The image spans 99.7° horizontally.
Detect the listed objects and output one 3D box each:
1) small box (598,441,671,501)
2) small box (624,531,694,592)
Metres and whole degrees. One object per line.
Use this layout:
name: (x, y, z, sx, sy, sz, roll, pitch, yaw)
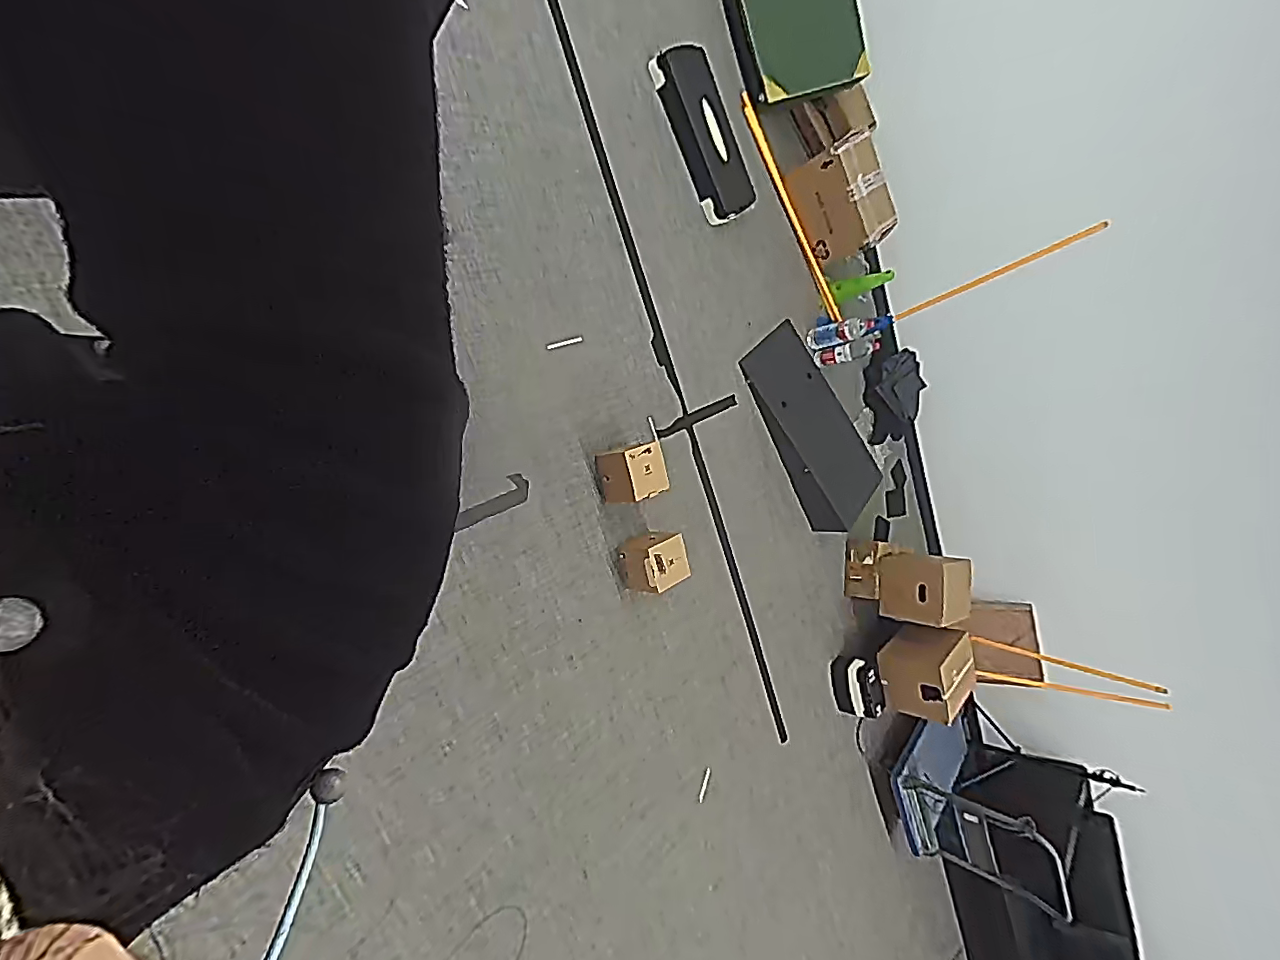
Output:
small box: (-0.021, -0.031, 1.890, 0.168, 0.176, 0.179, -21, 102, -40)
small box: (0.061, 0.288, 1.941, 0.179, 0.176, 0.168, -21, 101, -41)
